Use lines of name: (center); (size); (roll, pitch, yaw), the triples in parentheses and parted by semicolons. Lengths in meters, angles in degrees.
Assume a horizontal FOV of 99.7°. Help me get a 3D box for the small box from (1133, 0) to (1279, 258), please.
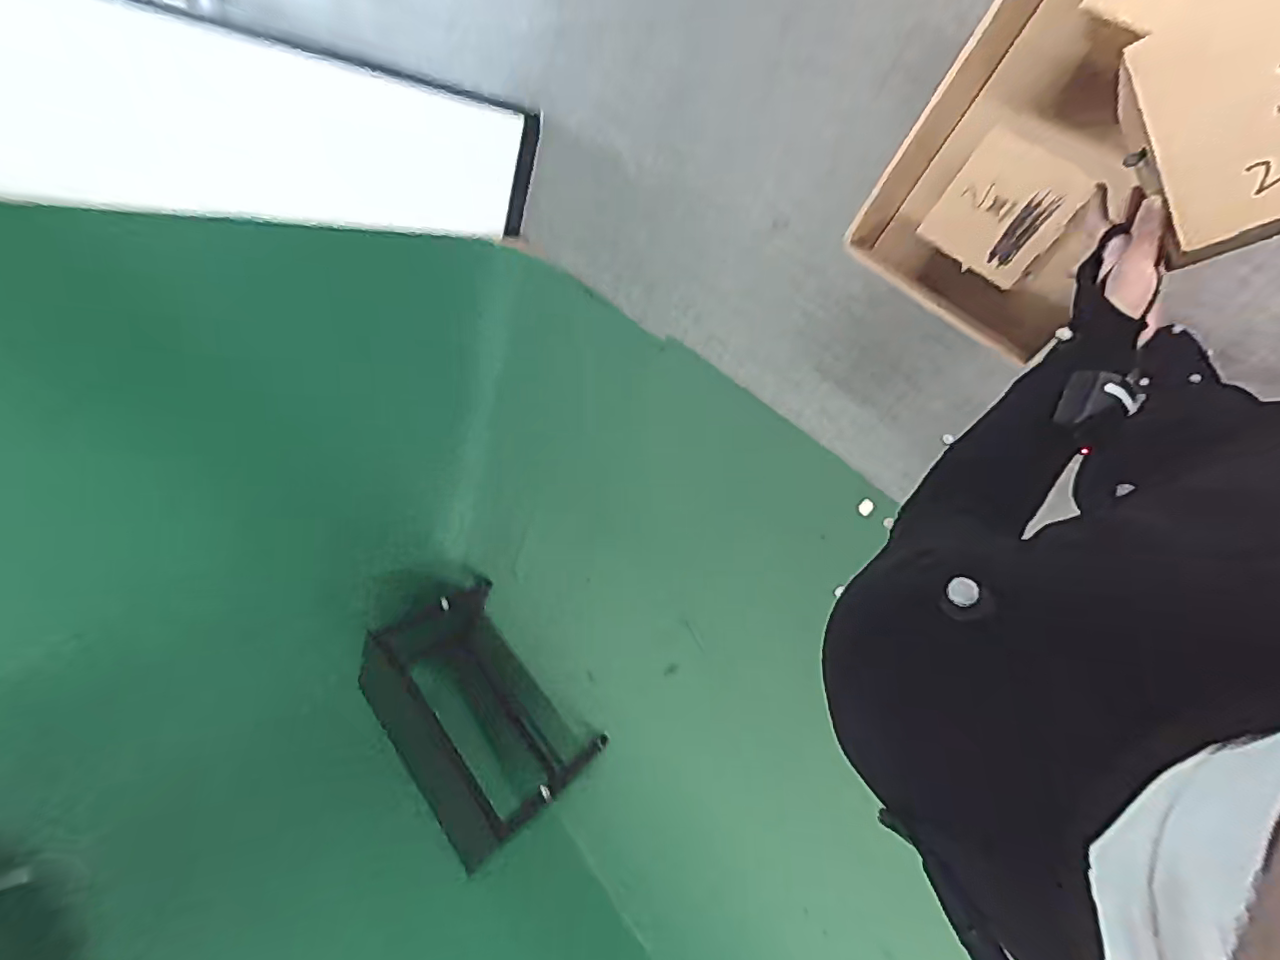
small box: (0.524, -0.303, 0.435); (0.168, 0.176, 0.179); (-14, 92, 43)

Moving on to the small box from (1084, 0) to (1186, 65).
small box: (0.722, -0.646, 0.693); (0.179, 0.176, 0.168); (46, 130, 20)
